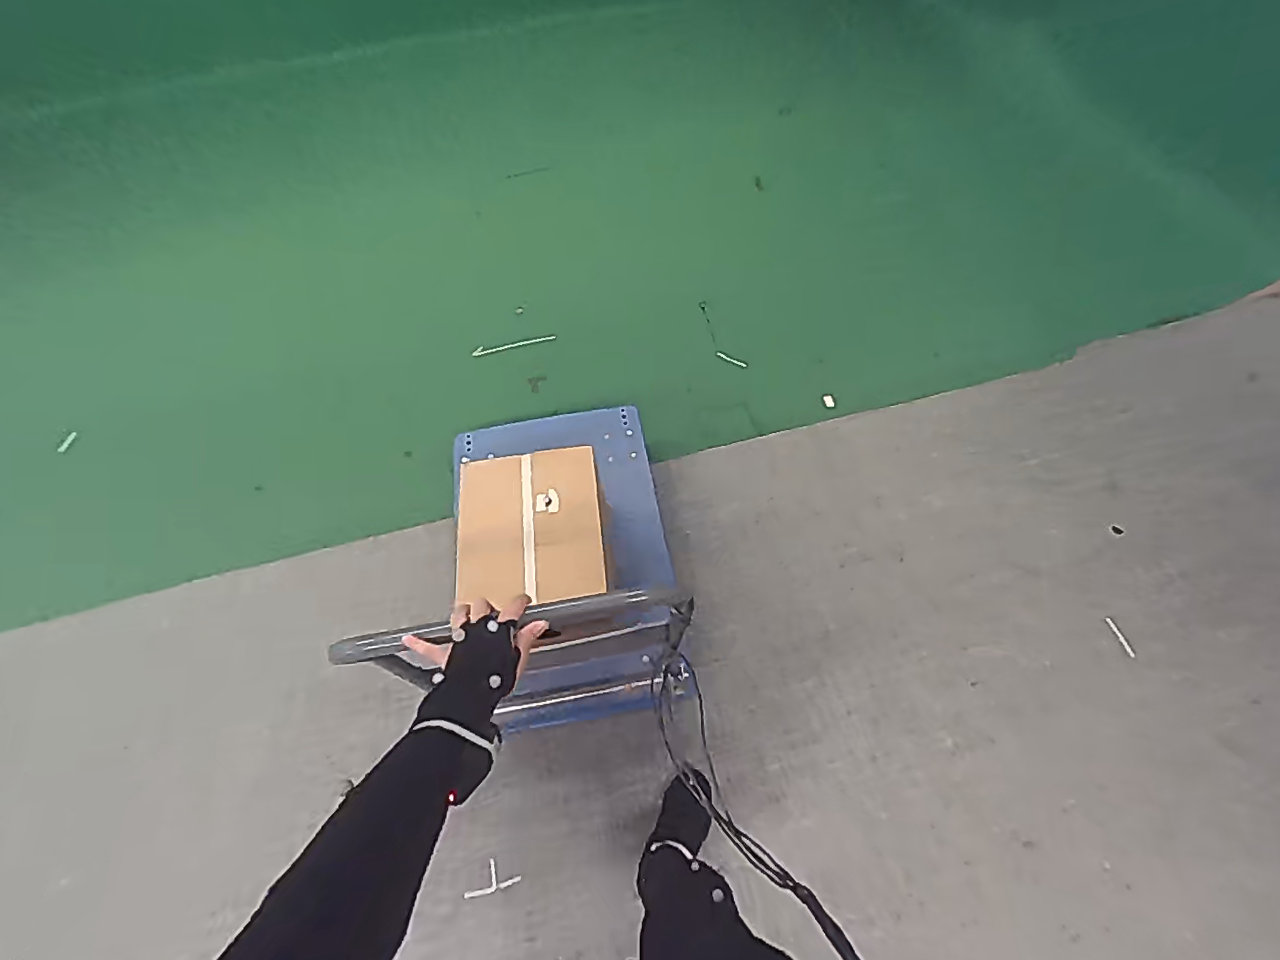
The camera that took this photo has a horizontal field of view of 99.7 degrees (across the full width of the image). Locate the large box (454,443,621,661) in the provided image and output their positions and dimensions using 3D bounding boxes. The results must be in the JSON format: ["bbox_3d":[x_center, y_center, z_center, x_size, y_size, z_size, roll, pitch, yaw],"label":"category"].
[{"bbox_3d":[-0.231,0.178,1.287,0.320,0.320,0.408,-7,61,-1],"label":"large box"}]
